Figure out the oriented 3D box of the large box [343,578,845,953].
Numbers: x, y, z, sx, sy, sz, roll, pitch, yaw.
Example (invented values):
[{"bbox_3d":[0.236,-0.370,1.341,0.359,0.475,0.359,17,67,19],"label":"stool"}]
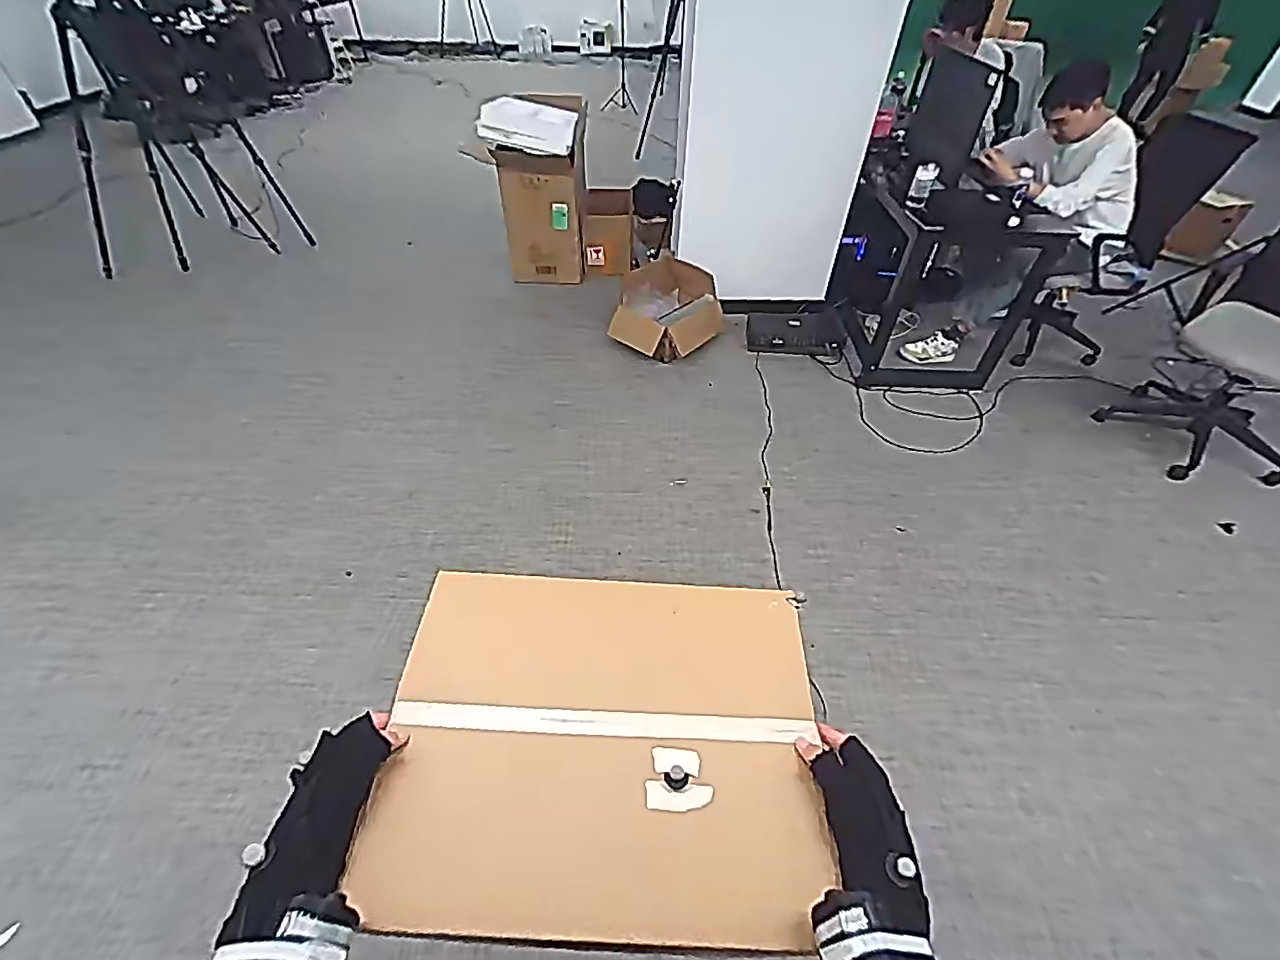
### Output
[{"bbox_3d":[-0.039,0.336,0.629,0.408,0.320,0.320,4,48,-1],"label":"large box"}]
